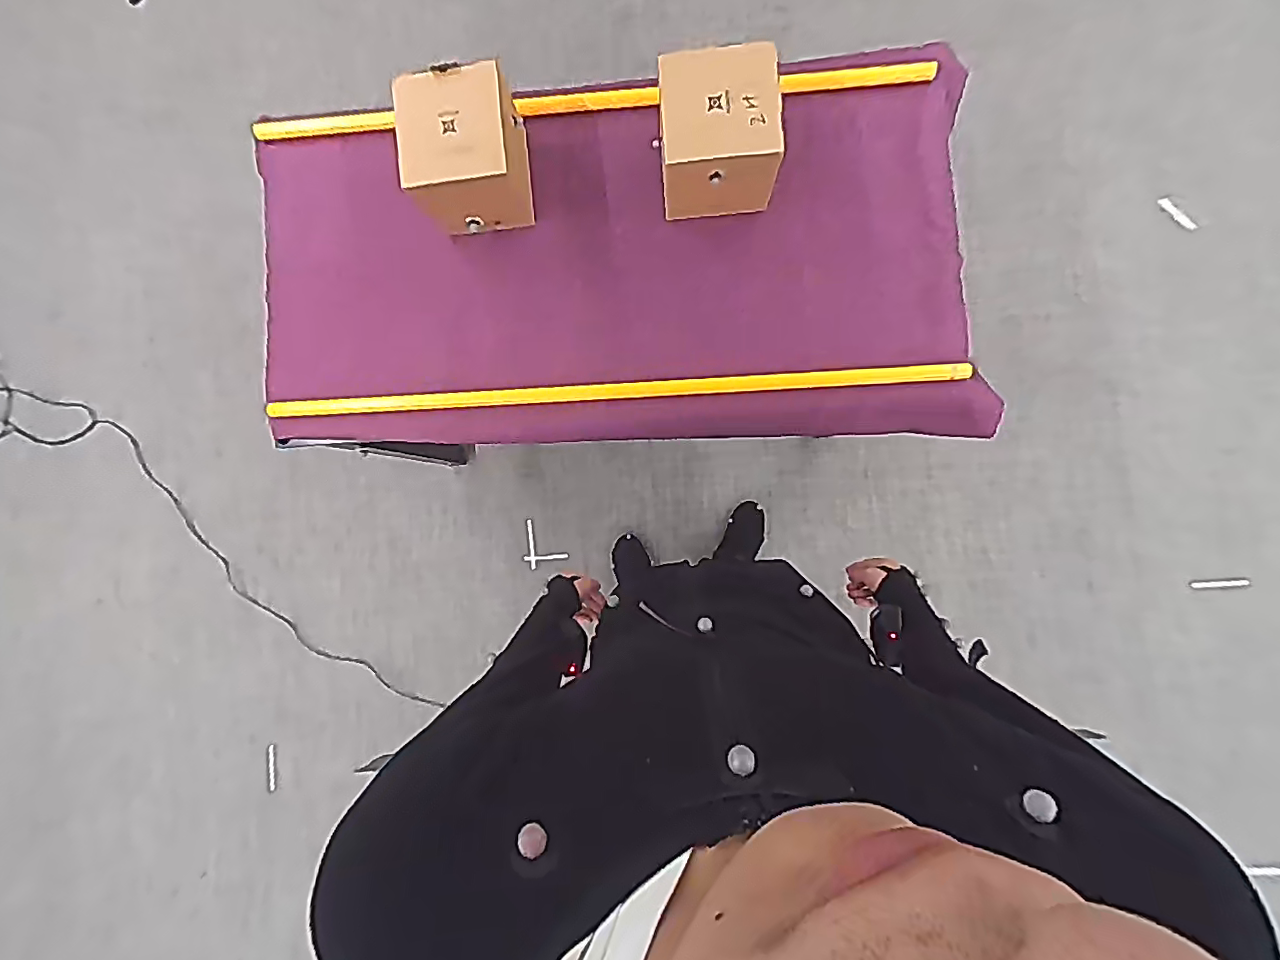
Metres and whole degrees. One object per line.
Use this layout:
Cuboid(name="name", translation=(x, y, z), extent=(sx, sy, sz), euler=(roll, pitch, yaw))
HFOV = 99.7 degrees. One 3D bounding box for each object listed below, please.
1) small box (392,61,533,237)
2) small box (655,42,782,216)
Cuboid(name="small box", translation=(-0.281, -0.530, 0.886), extent=(0.168, 0.176, 0.179), euler=(-6, 88, 4))
Cuboid(name="small box", translation=(0.119, -0.543, 0.863), extent=(0.179, 0.176, 0.168), euler=(-4, 89, 3))
